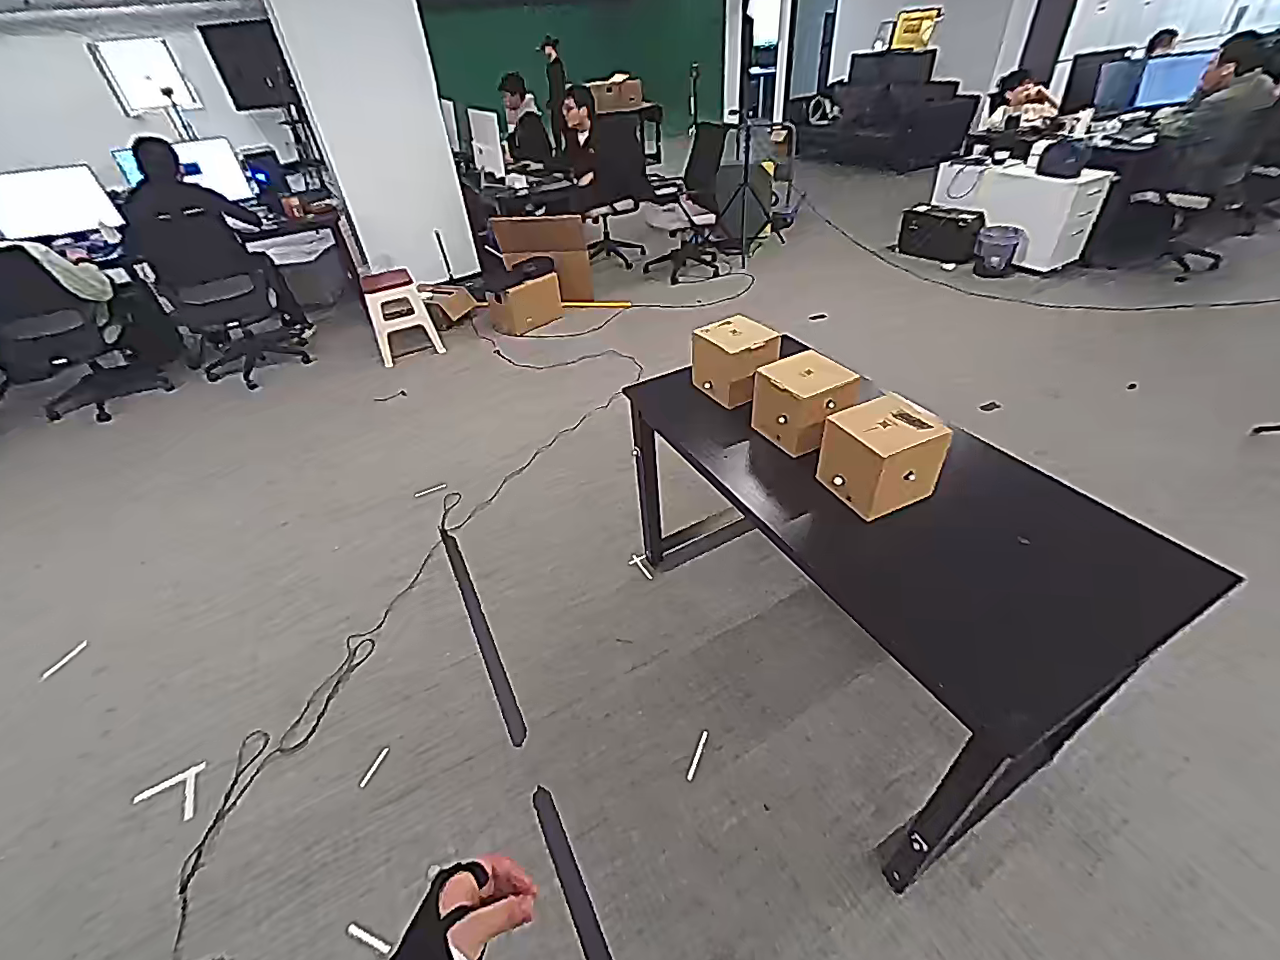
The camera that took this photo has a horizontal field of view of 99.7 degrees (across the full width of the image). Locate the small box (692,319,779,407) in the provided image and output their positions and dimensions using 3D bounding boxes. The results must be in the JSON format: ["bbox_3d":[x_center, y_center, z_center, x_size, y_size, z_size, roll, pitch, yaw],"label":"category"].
[{"bbox_3d":[0.258,-0.318,1.490,0.168,0.176,0.179,-23,43,-21],"label":"small box"}]

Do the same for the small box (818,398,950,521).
[{"bbox_3d":[0.498,-0.044,1.132,0.179,0.176,0.168,-19,42,-16],"label":"small box"}]

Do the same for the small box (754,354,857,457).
[{"bbox_3d":[0.391,-0.180,1.312,0.179,0.176,0.168,-21,43,-21],"label":"small box"}]
